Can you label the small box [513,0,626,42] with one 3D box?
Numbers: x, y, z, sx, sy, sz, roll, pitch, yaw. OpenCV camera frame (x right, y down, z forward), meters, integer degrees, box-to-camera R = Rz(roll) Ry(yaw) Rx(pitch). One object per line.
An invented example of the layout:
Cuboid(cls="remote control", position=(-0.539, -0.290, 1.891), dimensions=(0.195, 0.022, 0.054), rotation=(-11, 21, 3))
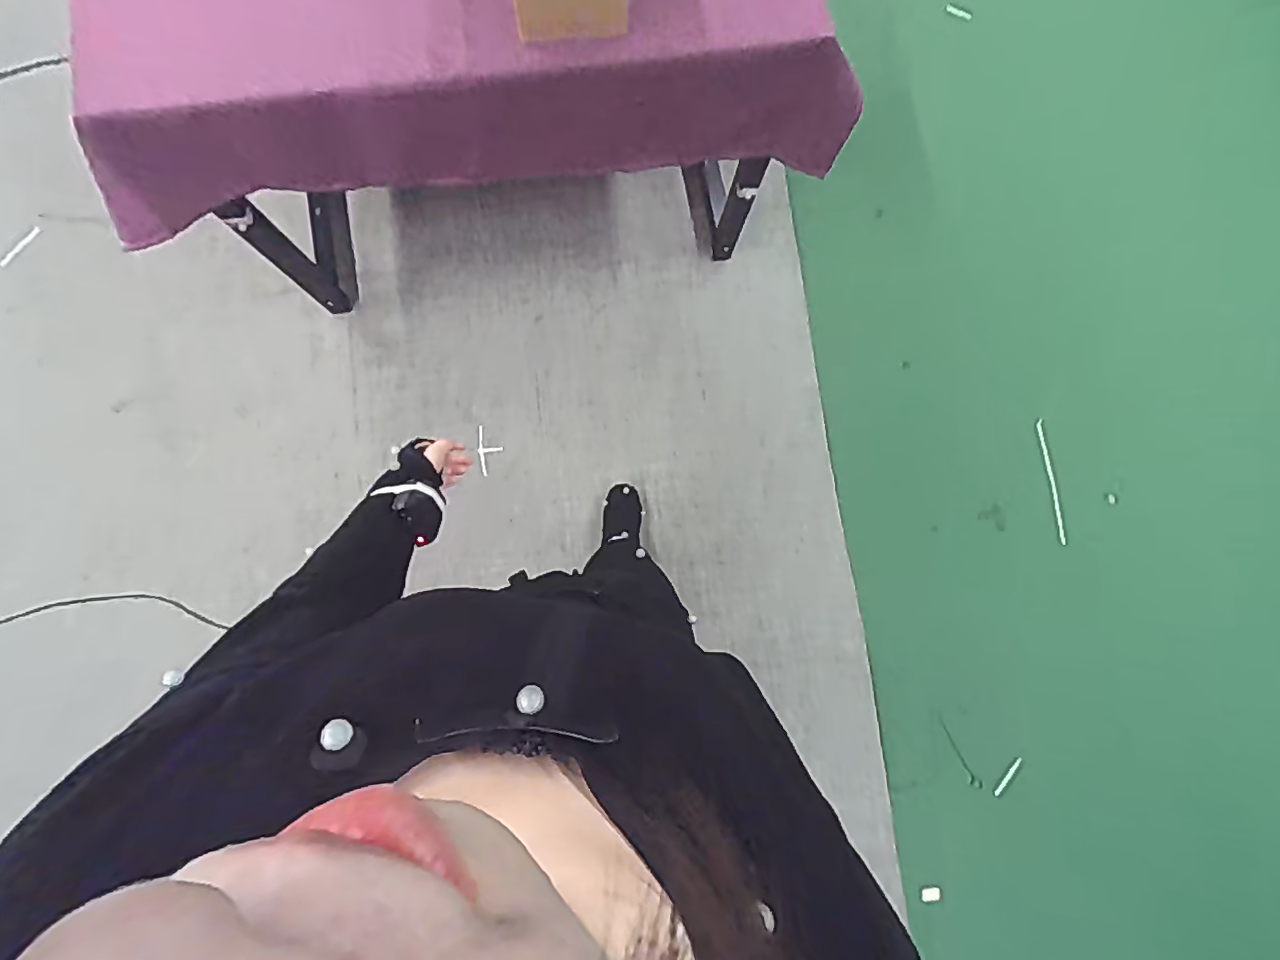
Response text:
Cuboid(cls="small box", position=(-0.115, -0.807, 0.814), dimensions=(0.179, 0.176, 0.168), rotation=(-7, 83, -4))
